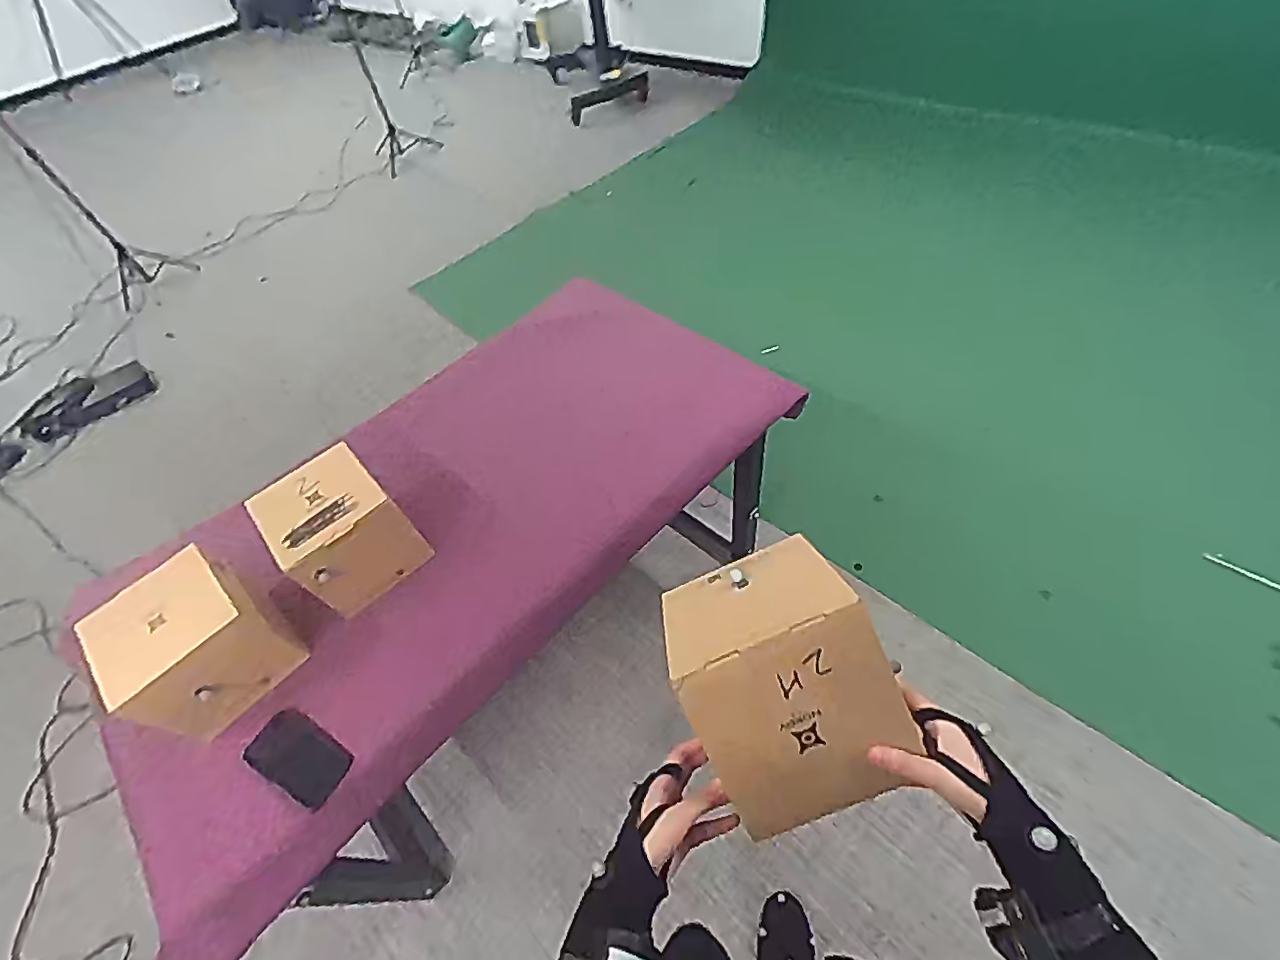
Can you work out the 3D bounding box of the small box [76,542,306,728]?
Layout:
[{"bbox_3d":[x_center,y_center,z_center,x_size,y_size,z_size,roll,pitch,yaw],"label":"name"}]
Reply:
[{"bbox_3d":[-0.629,0.228,0.776,0.179,0.176,0.168,33,64,29],"label":"small box"}]
